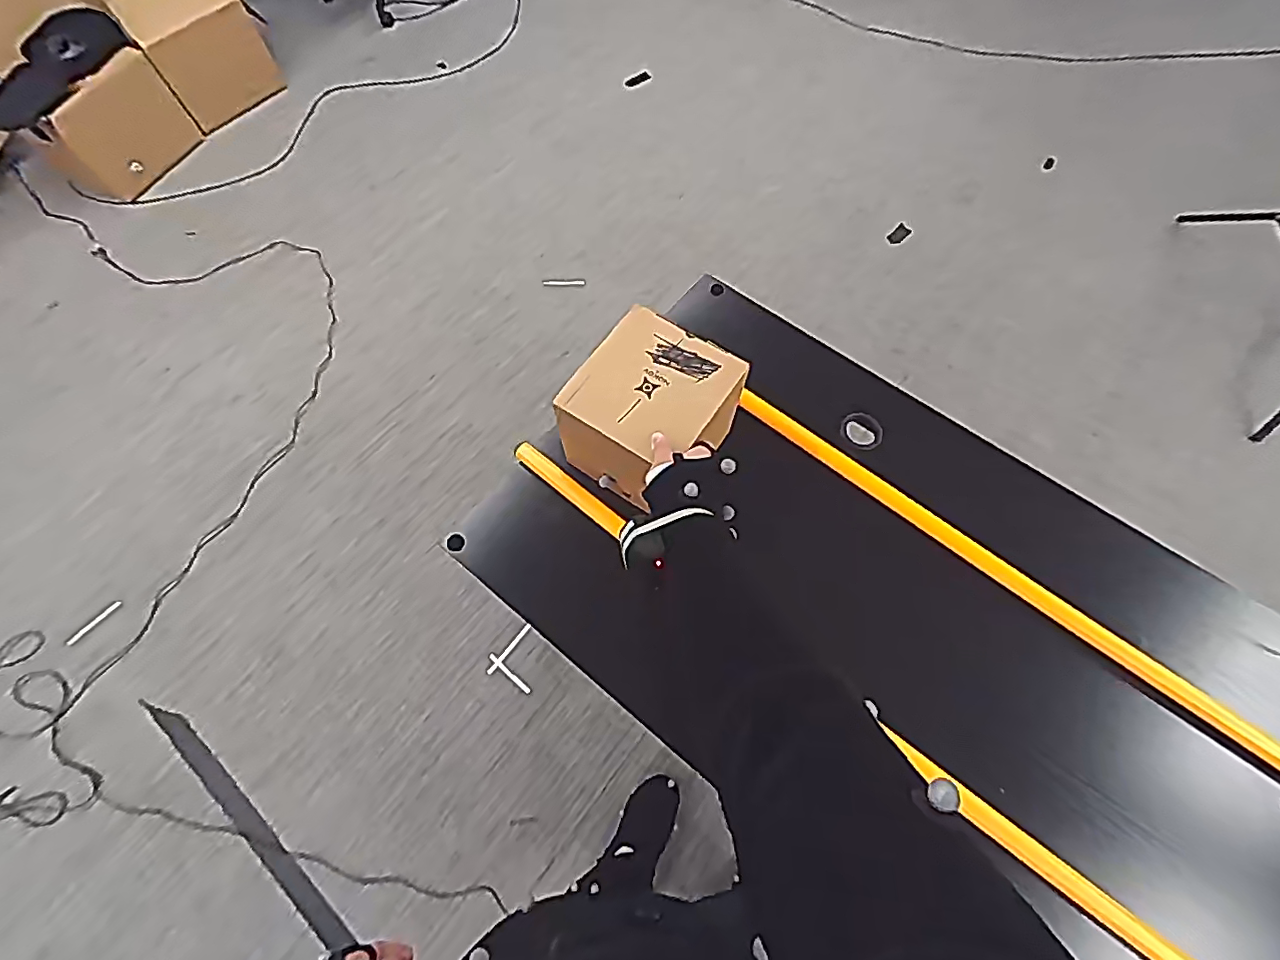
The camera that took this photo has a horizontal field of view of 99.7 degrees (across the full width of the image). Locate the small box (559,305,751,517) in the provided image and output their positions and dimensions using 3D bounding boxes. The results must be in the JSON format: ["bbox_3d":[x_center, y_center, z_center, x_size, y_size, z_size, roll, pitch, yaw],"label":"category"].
[{"bbox_3d":[0.018,-0.082,0.705,0.168,0.176,0.179,32,71,13],"label":"small box"}]
